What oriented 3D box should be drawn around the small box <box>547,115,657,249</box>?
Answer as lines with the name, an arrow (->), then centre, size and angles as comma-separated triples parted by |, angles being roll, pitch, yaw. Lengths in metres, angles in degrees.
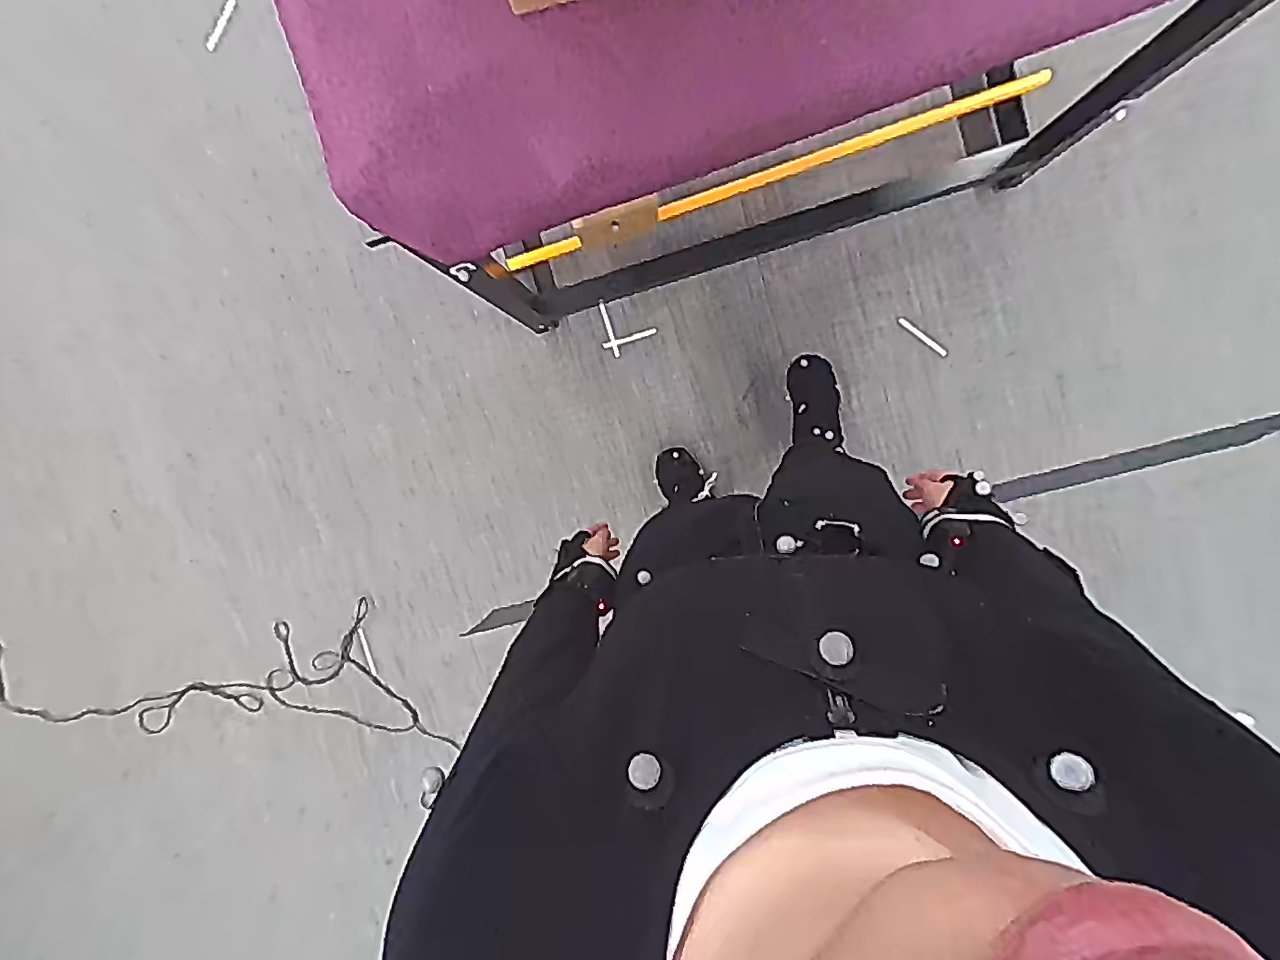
small box -> -0.071, -0.602, 1.114 | 0.179, 0.176, 0.168 | -17, 97, 5
